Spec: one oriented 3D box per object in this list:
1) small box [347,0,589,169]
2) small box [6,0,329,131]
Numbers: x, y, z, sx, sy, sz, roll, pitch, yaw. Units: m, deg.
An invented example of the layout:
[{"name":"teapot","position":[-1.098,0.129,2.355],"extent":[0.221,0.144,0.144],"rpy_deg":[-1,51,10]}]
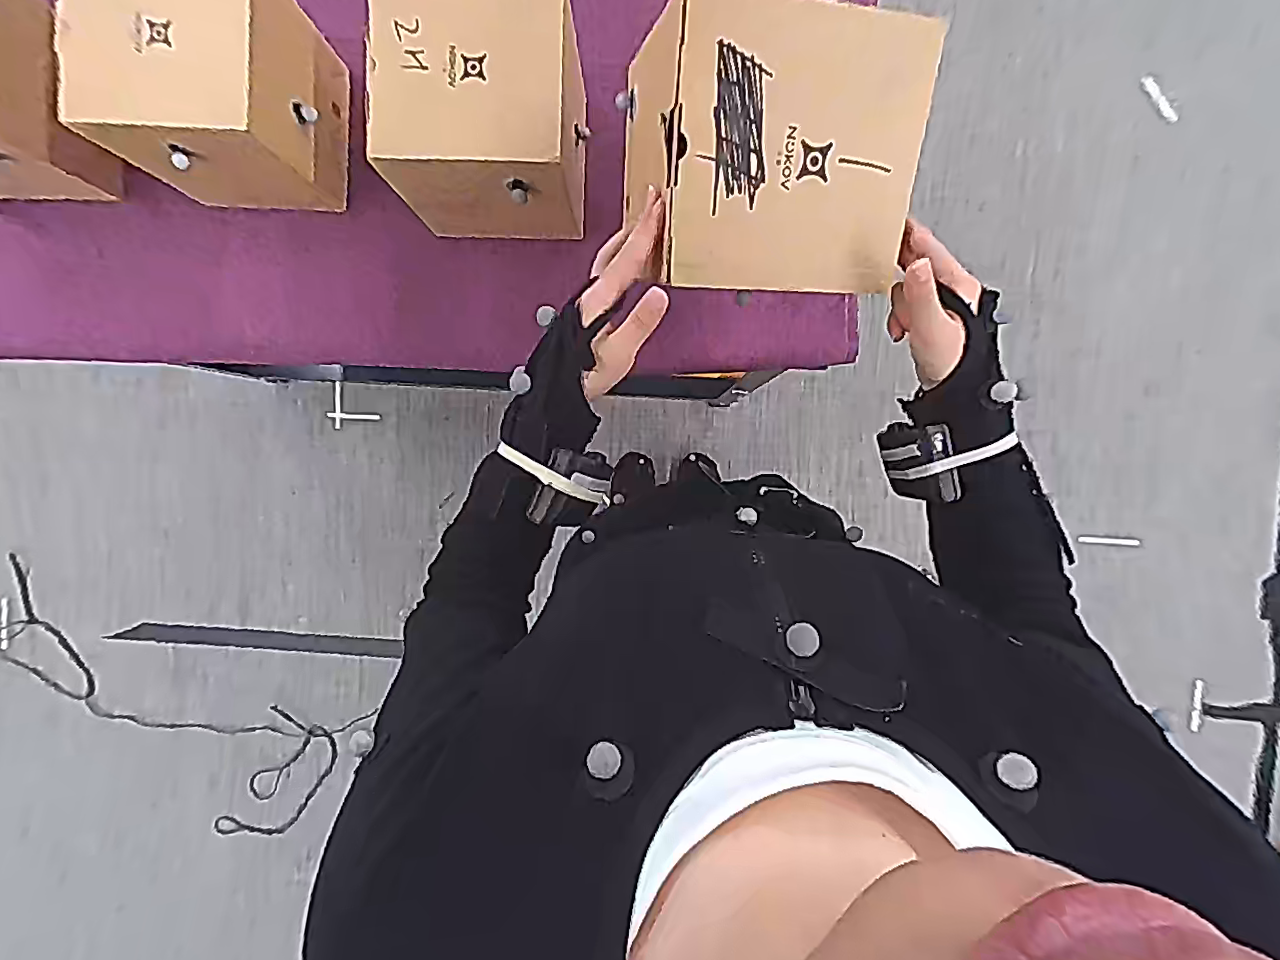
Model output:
[{"name":"small box","position":[-0.142,-0.413,0.502],"extent":[0.179,0.176,0.168],"rpy_deg":[3,97,1]},{"name":"small box","position":[-0.418,-0.454,0.504],"extent":[0.179,0.176,0.168],"rpy_deg":[4,98,1]}]
